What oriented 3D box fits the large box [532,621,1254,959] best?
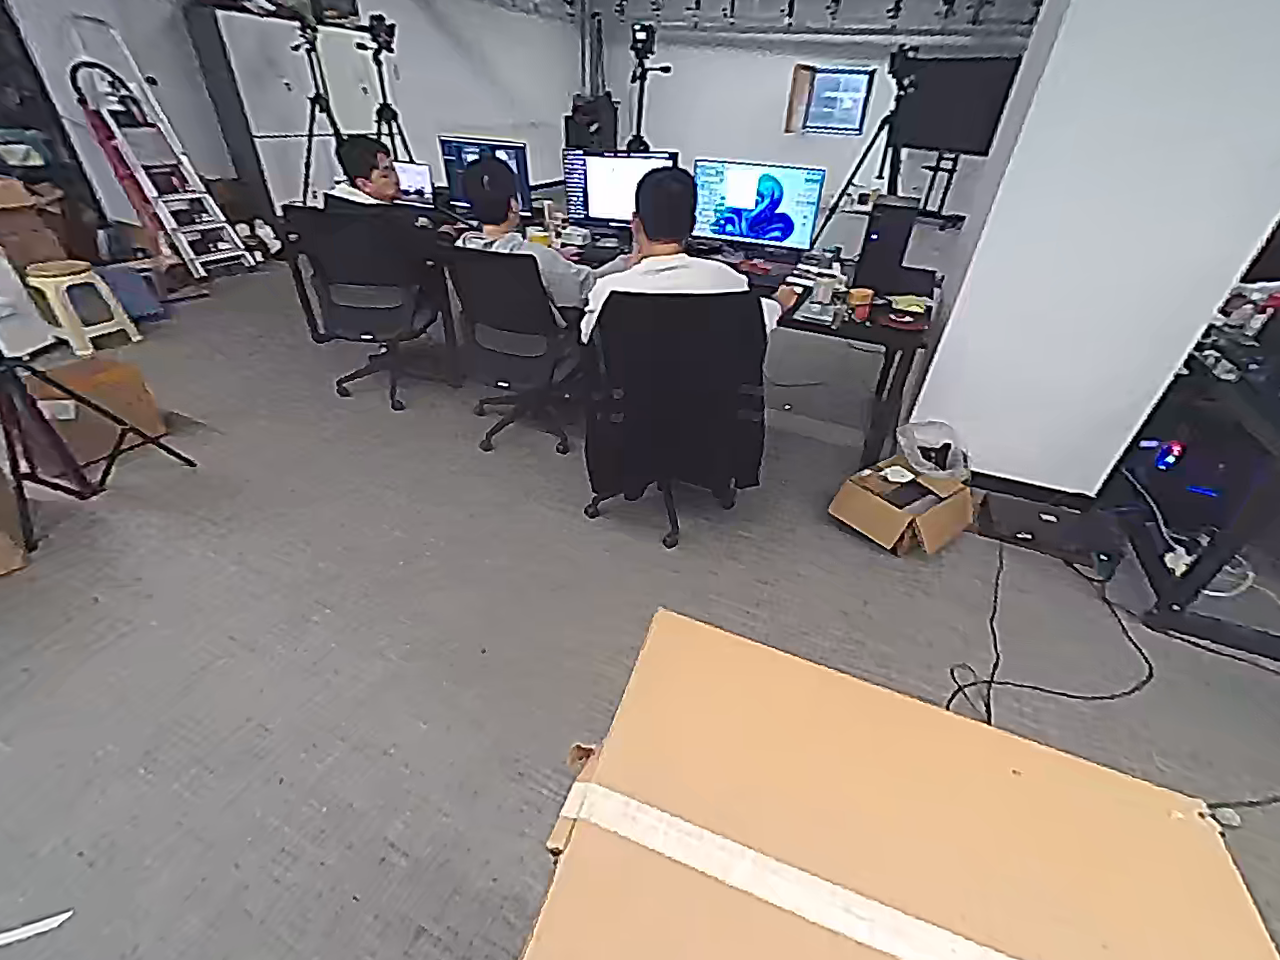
[{"bbox_3d":[0.131,0.373,0.397,0.408,0.320,0.320,18,40,9],"label":"large box"}]
